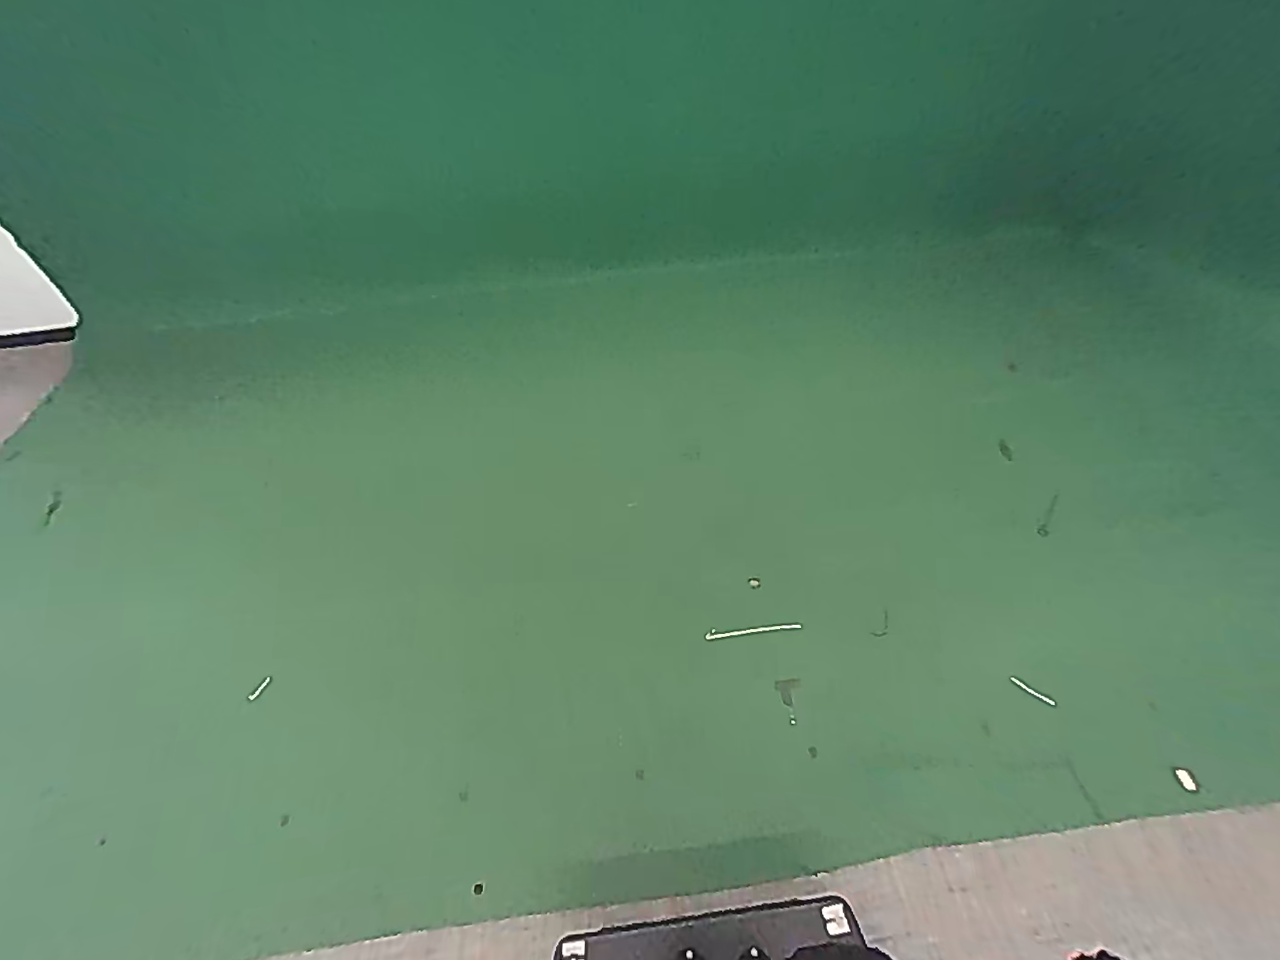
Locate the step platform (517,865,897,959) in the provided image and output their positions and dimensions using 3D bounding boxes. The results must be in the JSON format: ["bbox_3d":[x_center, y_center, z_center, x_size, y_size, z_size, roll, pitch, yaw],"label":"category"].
[{"bbox_3d":[0.125,0.939,1.001,0.684,0.204,0.286,-8,49,-2],"label":"step platform"}]
